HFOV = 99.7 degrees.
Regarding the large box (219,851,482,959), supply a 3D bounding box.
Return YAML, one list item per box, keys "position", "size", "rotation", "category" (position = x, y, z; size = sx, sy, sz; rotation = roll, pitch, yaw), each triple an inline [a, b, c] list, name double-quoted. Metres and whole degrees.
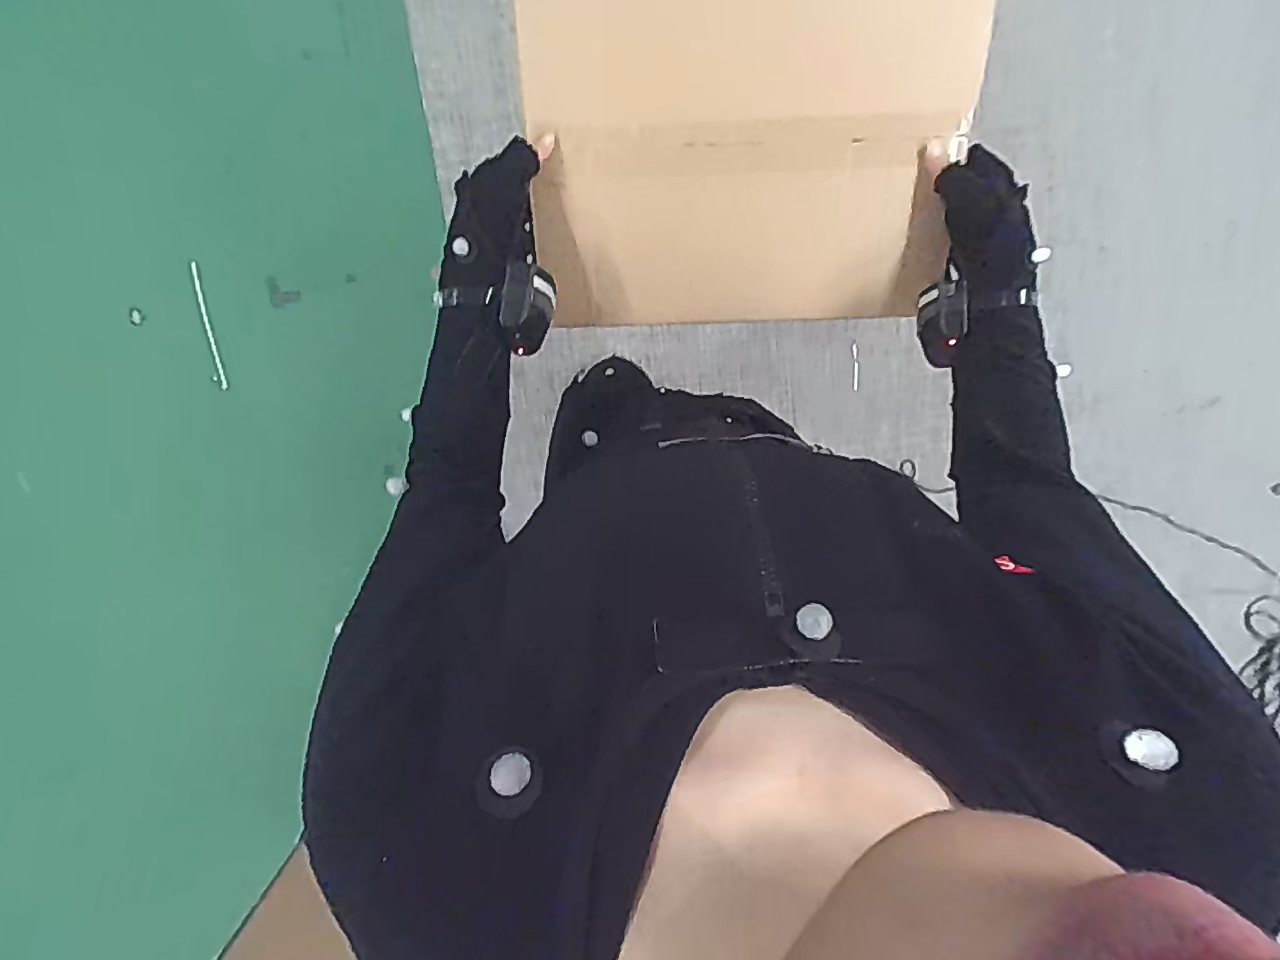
- position: [-0.561, 0.975, 0.980]
  size: [0.408, 0.320, 0.320]
  rotation: [24, 104, -4]
  category: "large box"
